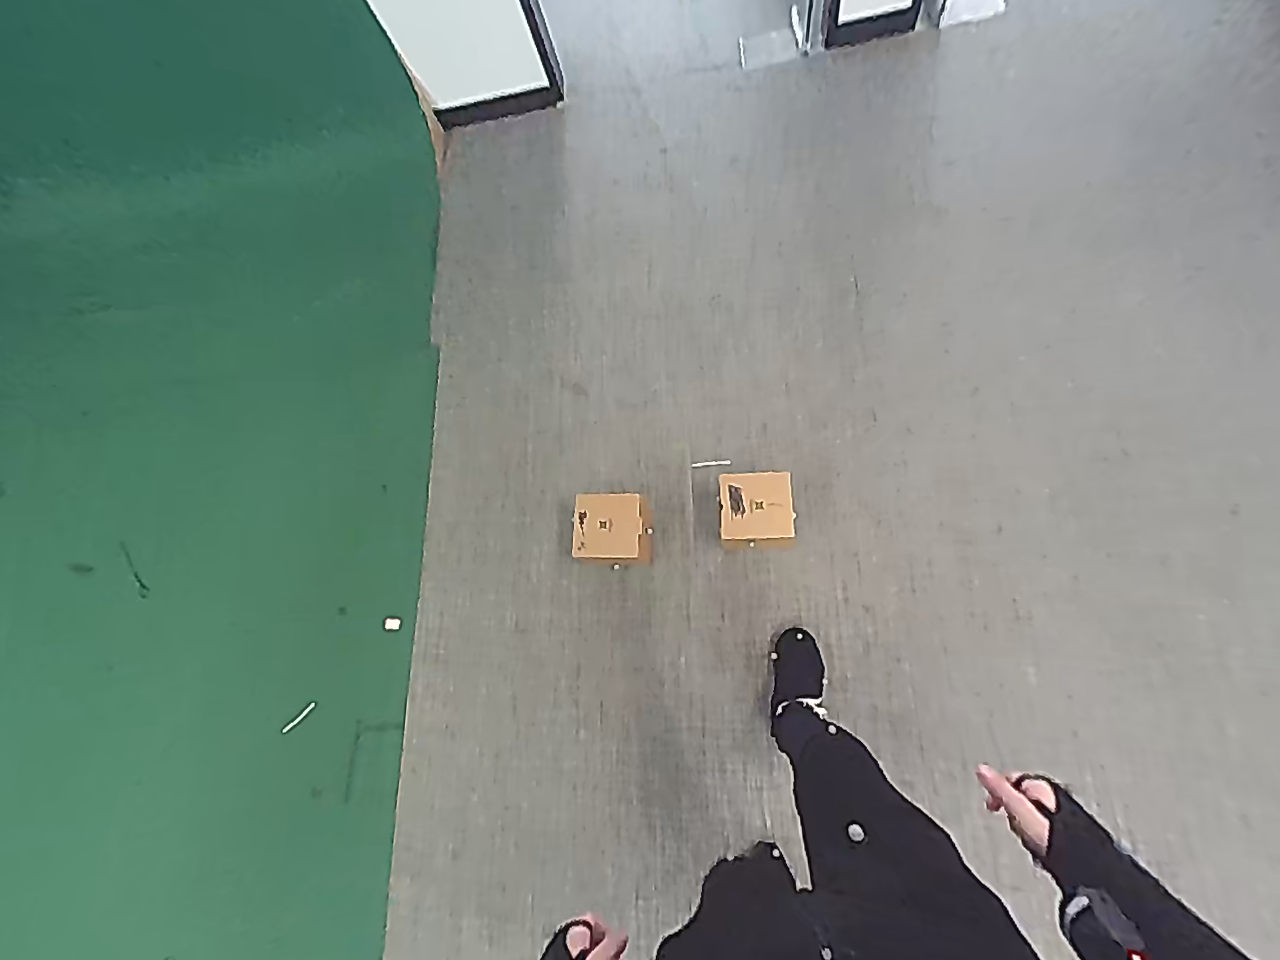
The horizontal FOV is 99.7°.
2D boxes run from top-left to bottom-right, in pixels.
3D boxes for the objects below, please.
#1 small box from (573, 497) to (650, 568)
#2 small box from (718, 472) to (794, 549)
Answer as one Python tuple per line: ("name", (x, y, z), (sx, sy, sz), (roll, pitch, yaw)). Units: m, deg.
("small box", (-0.069, 0.143, 1.446), (0.179, 0.176, 0.168), (-1, 75, 10))
("small box", (0.296, 0.084, 1.385), (0.179, 0.176, 0.168), (-2, 75, 10))
